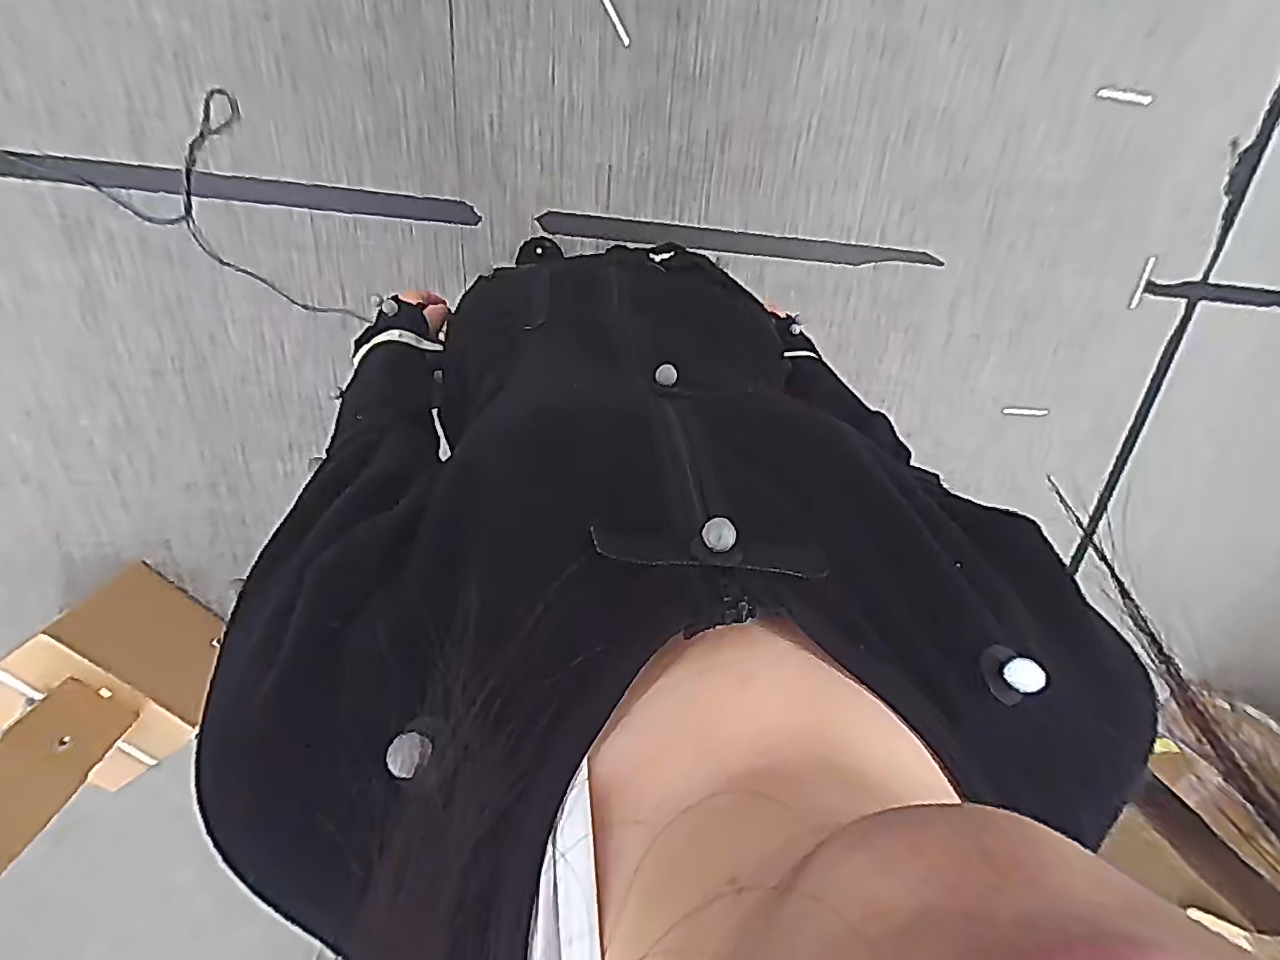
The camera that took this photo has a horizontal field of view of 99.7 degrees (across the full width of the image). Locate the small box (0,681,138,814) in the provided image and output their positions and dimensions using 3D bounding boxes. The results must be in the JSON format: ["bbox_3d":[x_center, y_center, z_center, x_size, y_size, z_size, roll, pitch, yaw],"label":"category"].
[{"bbox_3d":[-1.291,0.585,1.197,0.168,0.176,0.179,-37,112,7],"label":"small box"}]
